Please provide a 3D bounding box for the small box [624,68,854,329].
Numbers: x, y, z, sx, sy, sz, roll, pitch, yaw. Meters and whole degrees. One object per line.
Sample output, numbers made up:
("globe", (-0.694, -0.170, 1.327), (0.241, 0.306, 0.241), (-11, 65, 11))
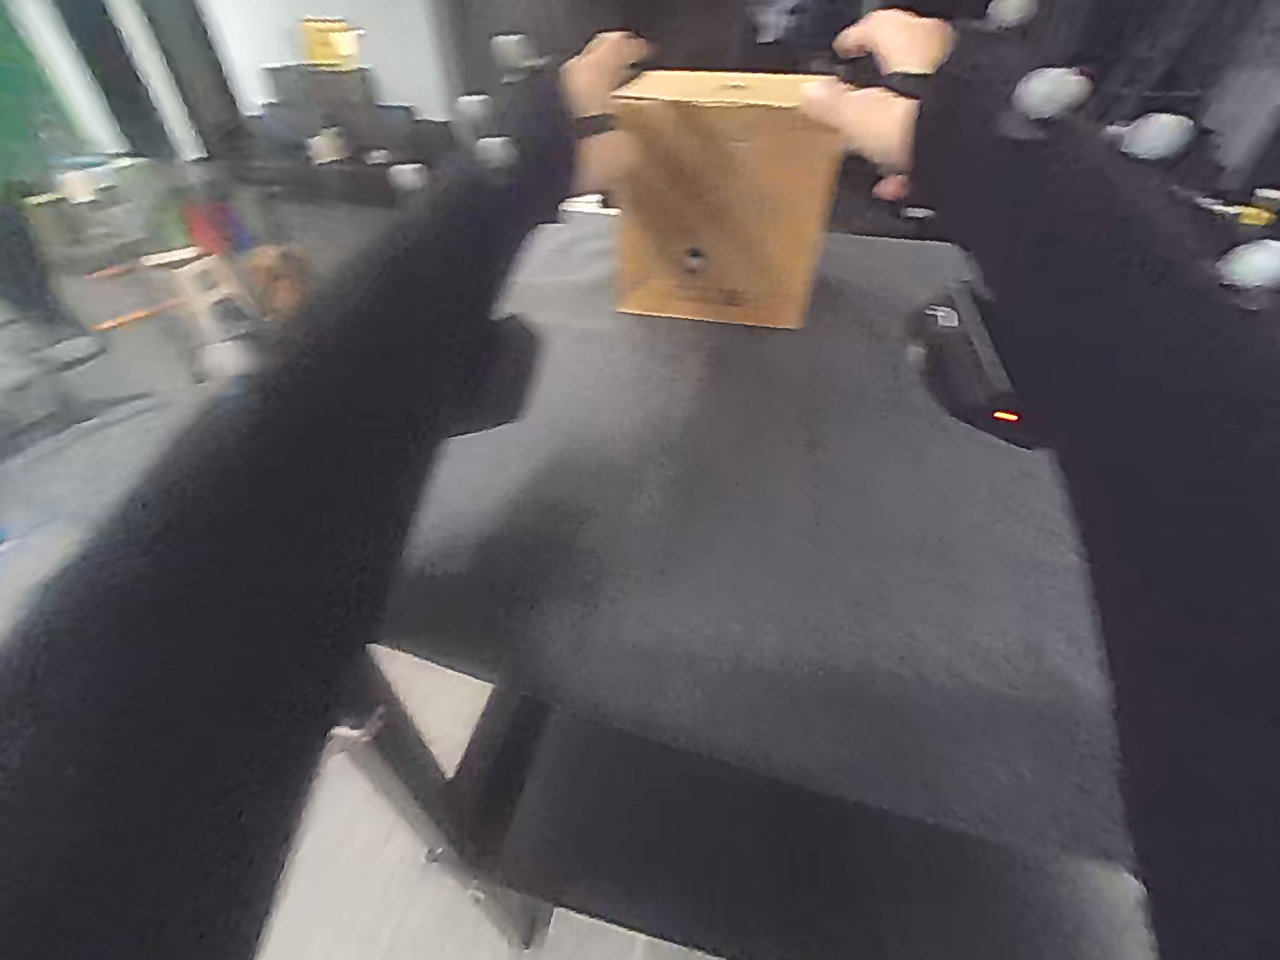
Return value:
("small box", (0.082, -0.259, 0.492), (0.168, 0.176, 0.179), (8, 43, 8))
